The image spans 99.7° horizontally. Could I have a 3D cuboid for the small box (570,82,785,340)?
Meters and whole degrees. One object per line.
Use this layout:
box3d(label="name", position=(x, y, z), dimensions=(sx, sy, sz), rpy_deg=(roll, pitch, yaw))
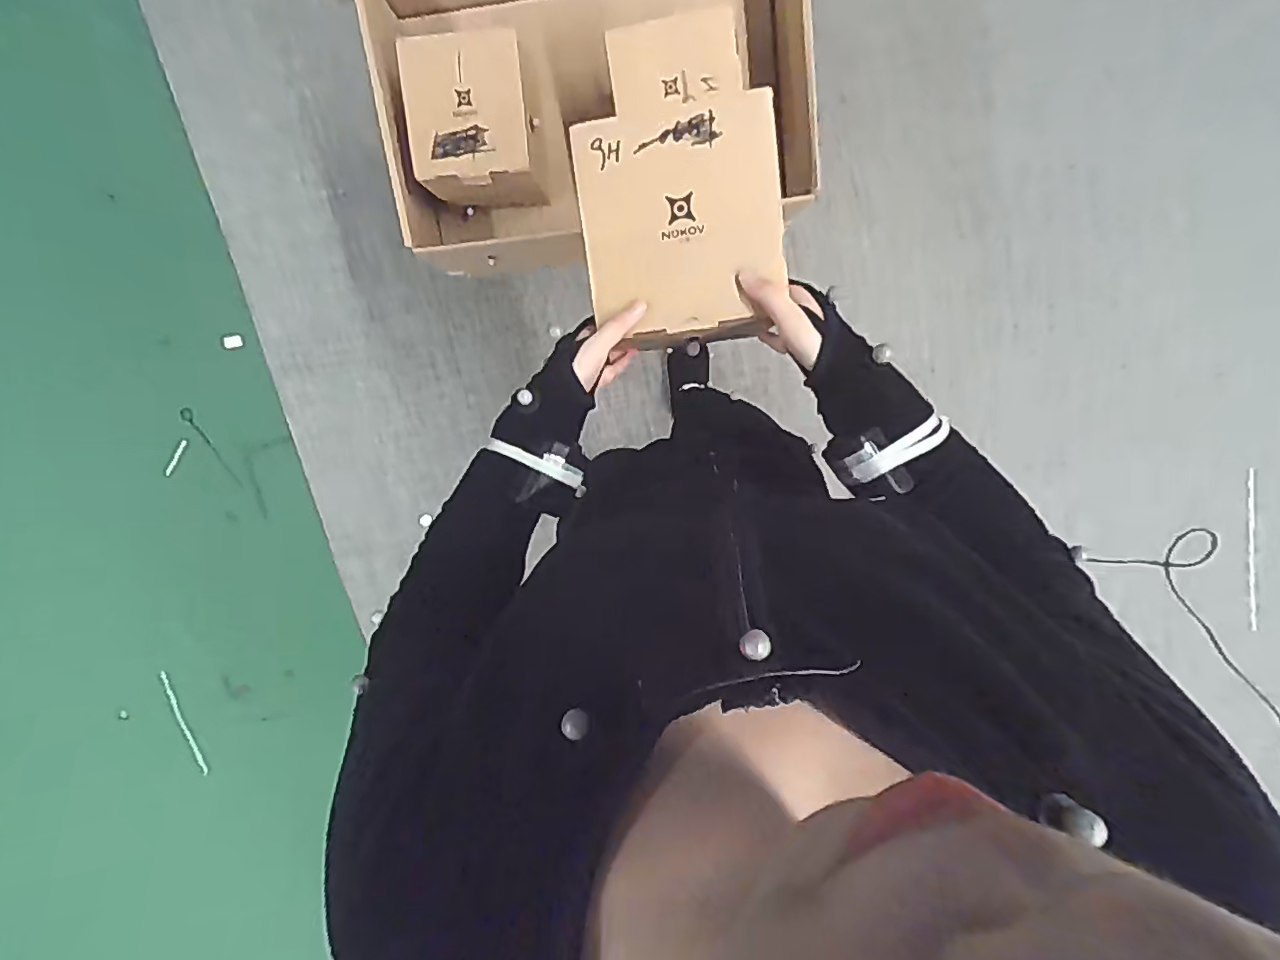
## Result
box3d(label="small box", position=(0.040, -0.234, 0.525), dimensions=(0.168, 0.176, 0.179), rpy_deg=(-7, 100, 6))
